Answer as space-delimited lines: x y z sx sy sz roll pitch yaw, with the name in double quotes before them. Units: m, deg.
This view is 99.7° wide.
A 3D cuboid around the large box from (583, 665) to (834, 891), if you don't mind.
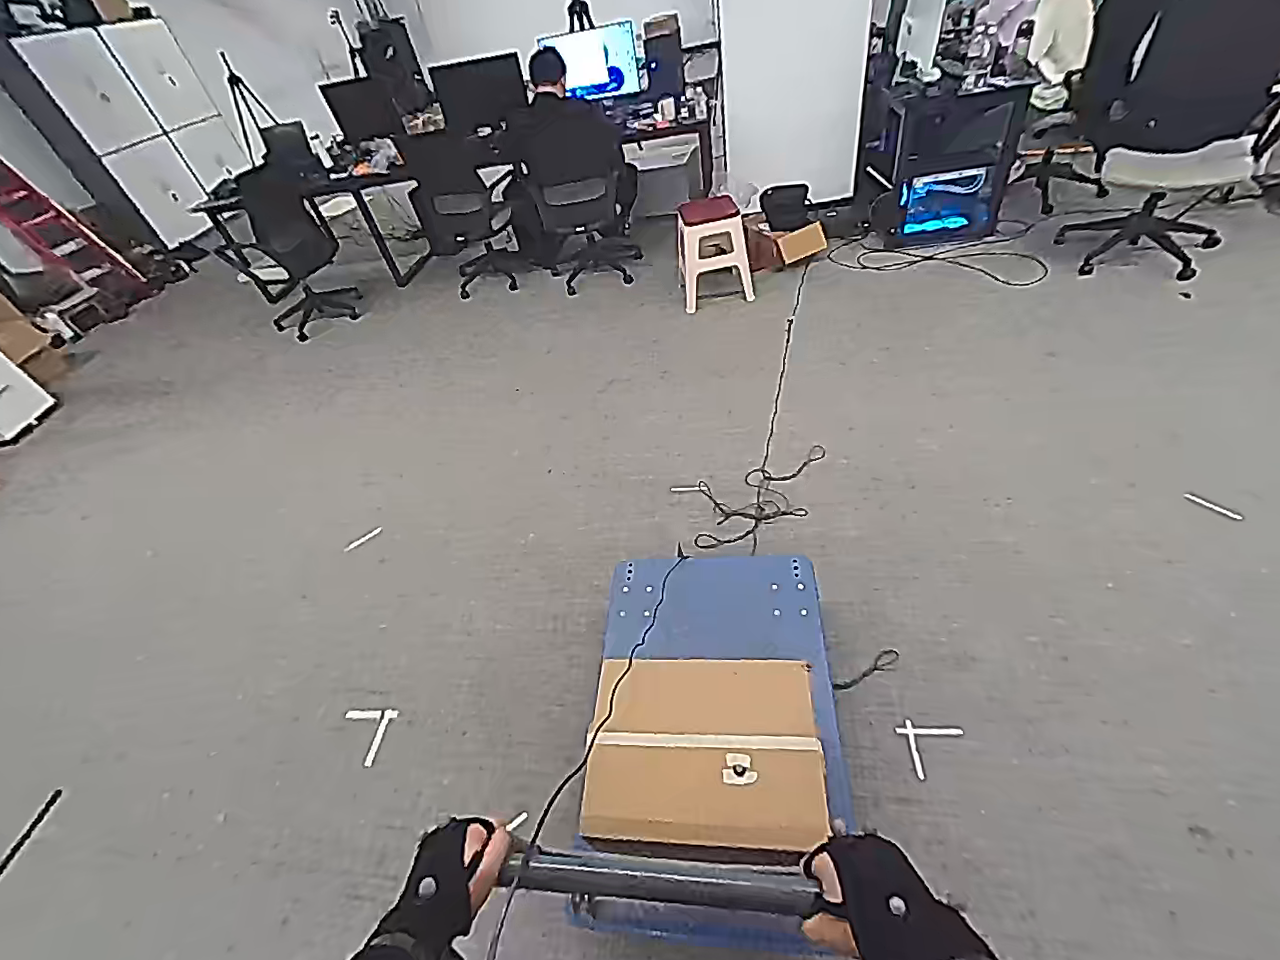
"large box" 0.133 0.577 1.056 0.408 0.320 0.320 -3 45 10
